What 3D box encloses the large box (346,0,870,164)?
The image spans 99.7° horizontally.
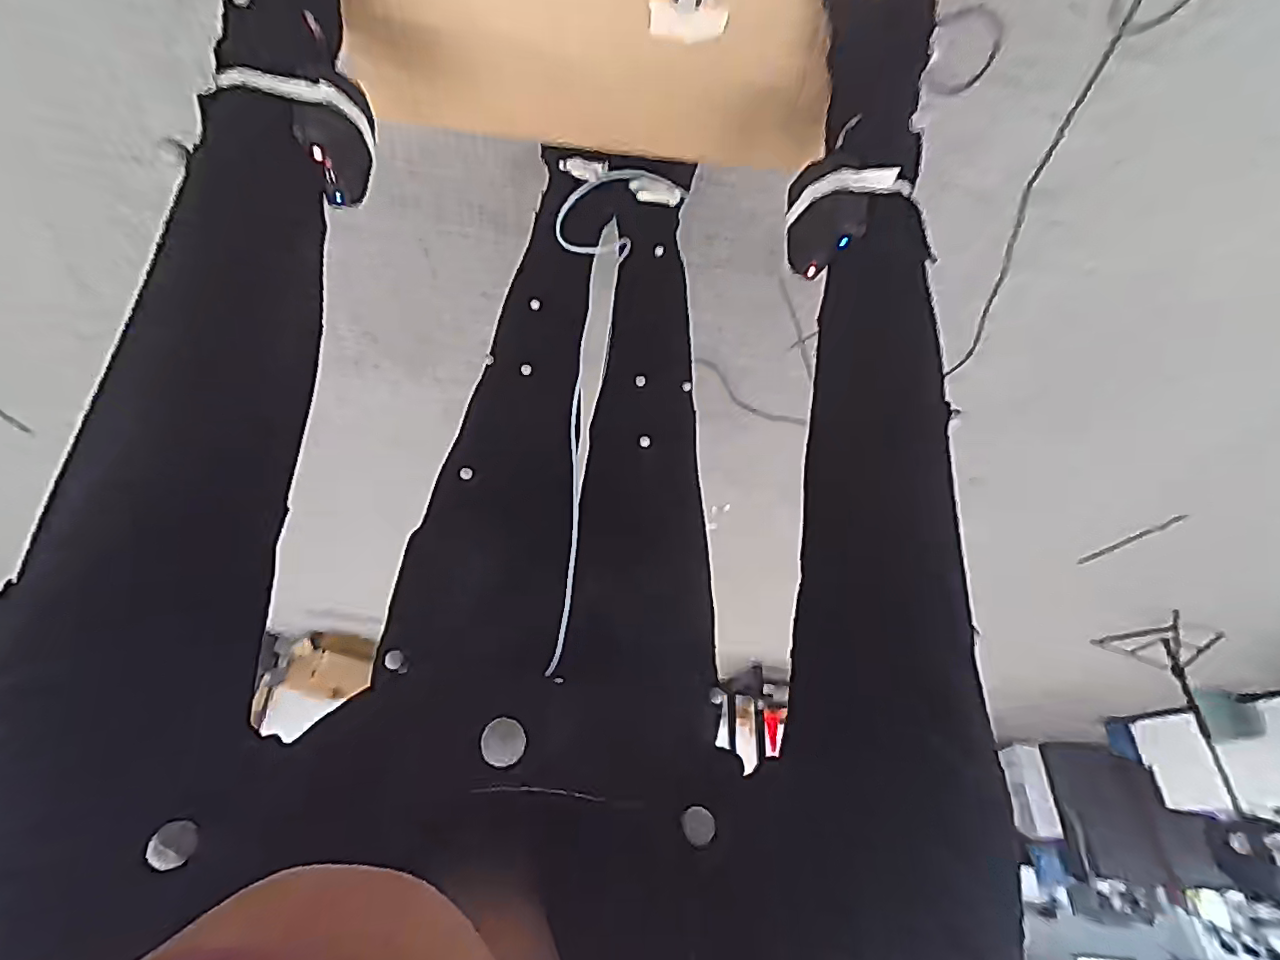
[{"bbox_3d":[-0.017,-0.512,0.456,0.408,0.320,0.320,6,143,-2],"label":"large box"}]
